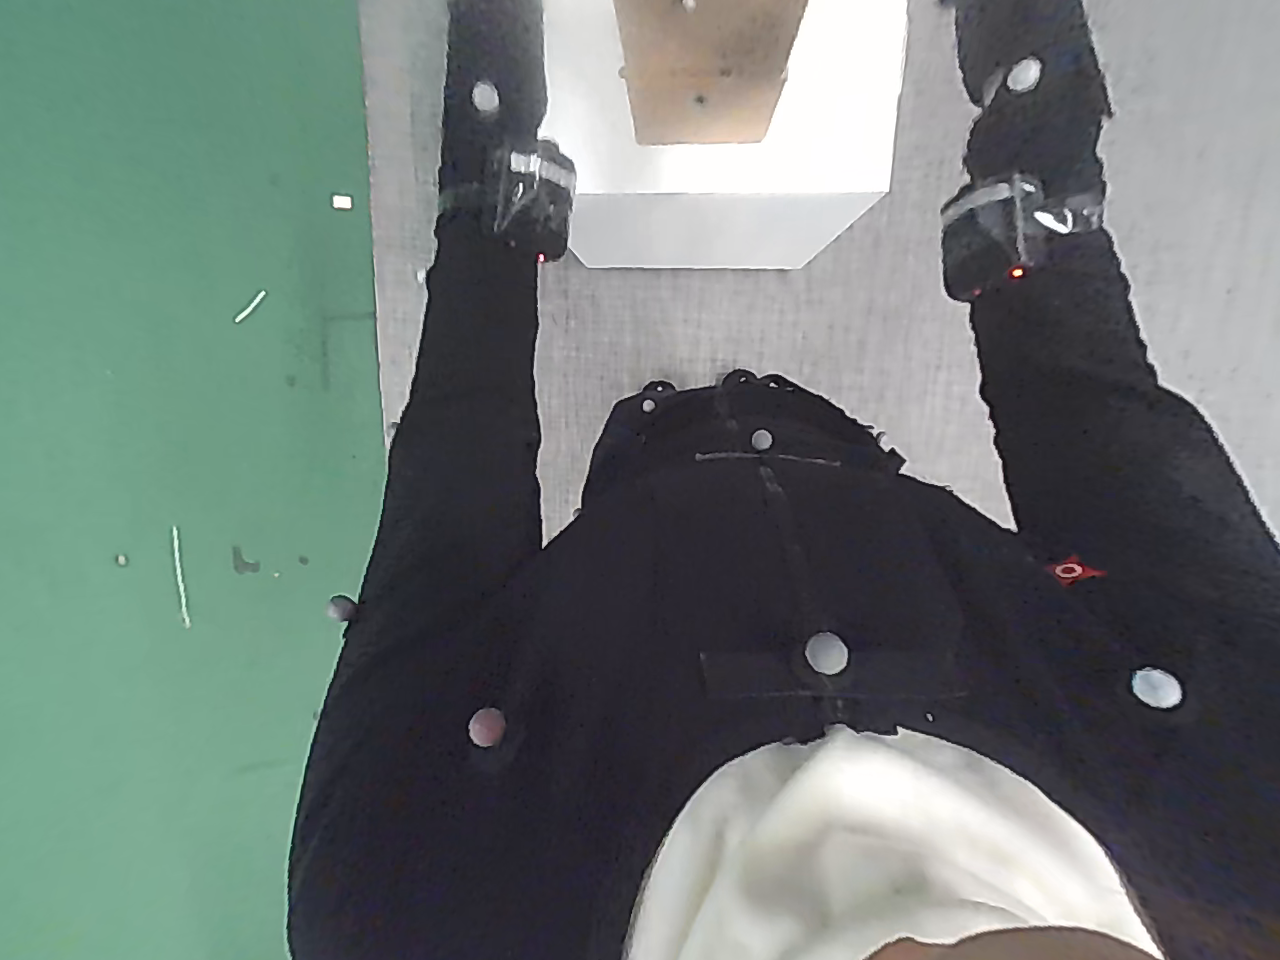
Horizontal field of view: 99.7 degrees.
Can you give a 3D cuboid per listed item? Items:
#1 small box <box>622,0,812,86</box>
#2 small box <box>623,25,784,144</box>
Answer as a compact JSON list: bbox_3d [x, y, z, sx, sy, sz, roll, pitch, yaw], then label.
[{"bbox_3d":[0.066,-0.498,0.490,0.168,0.176,0.179,1,102,3],"label":"small box"},{"bbox_3d":[0.075,-0.525,0.649,0.179,0.176,0.168,2,102,3],"label":"small box"}]
